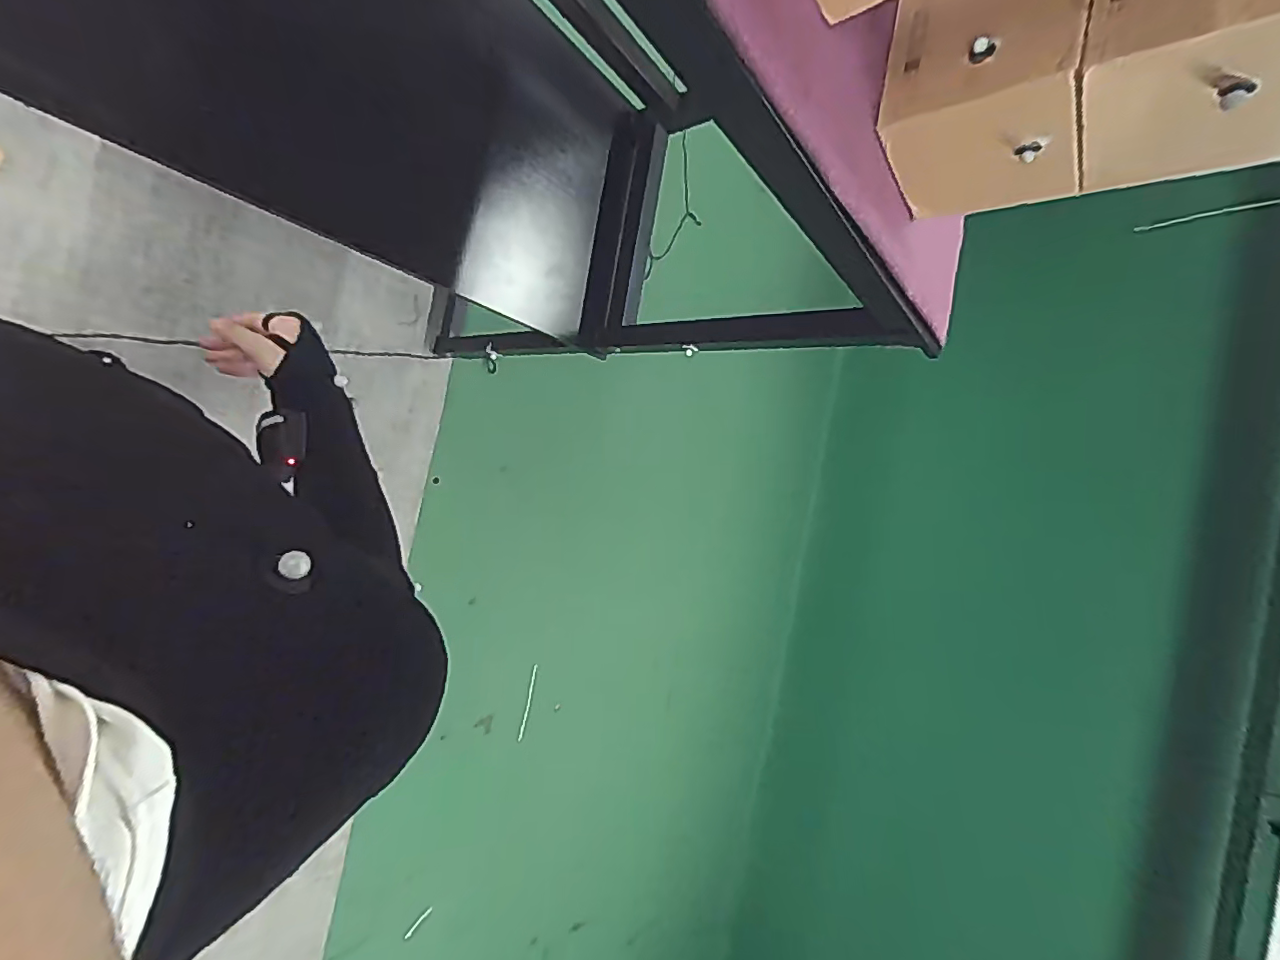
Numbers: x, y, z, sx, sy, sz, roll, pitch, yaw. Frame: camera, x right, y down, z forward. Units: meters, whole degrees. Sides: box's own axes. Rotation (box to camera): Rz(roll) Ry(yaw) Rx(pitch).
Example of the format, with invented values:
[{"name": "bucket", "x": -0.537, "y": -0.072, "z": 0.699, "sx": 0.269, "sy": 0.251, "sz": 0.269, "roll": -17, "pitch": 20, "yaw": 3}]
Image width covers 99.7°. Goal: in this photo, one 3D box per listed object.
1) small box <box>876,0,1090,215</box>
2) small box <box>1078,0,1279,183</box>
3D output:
[{"name": "small box", "x": 0.363, "y": -0.407, "z": 0.565, "sx": 0.179, "sy": 0.176, "sz": 0.168, "roll": 18, "pitch": 83, "yaw": -50}, {"name": "small box", "x": 0.487, "y": -0.387, "z": 0.460, "sx": 0.179, "sy": 0.176, "sz": 0.168, "roll": 17, "pitch": 86, "yaw": -48}]
